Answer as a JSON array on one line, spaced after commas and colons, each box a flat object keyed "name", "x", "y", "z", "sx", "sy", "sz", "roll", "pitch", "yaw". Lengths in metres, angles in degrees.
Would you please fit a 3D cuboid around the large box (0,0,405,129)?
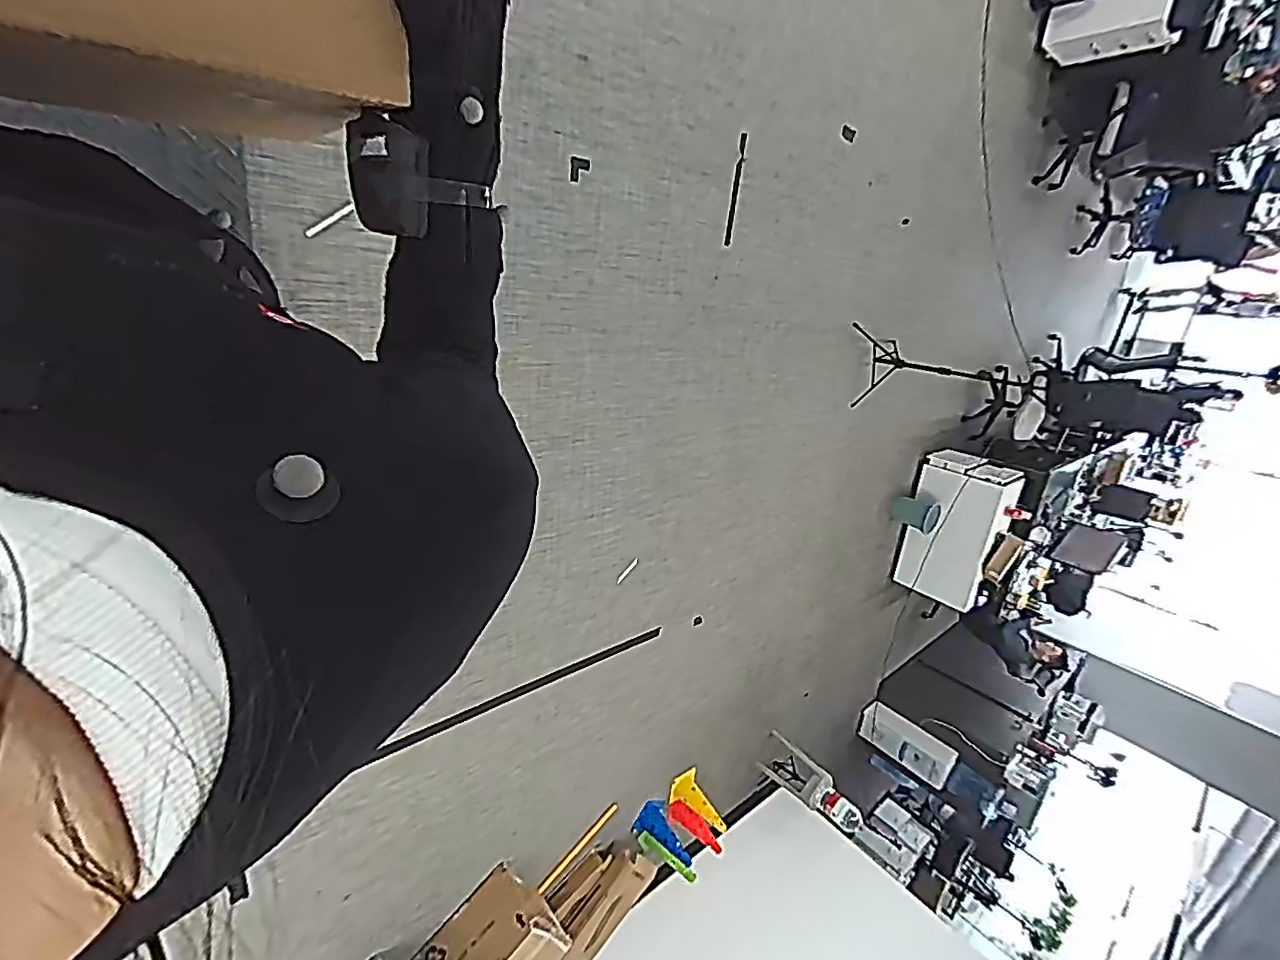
[{"name": "large box", "x": -0.377, "y": -0.378, "z": 0.242, "sx": 0.408, "sy": 0.320, "sz": 0.320, "roll": -15, "pitch": 123, "yaw": -37}]
